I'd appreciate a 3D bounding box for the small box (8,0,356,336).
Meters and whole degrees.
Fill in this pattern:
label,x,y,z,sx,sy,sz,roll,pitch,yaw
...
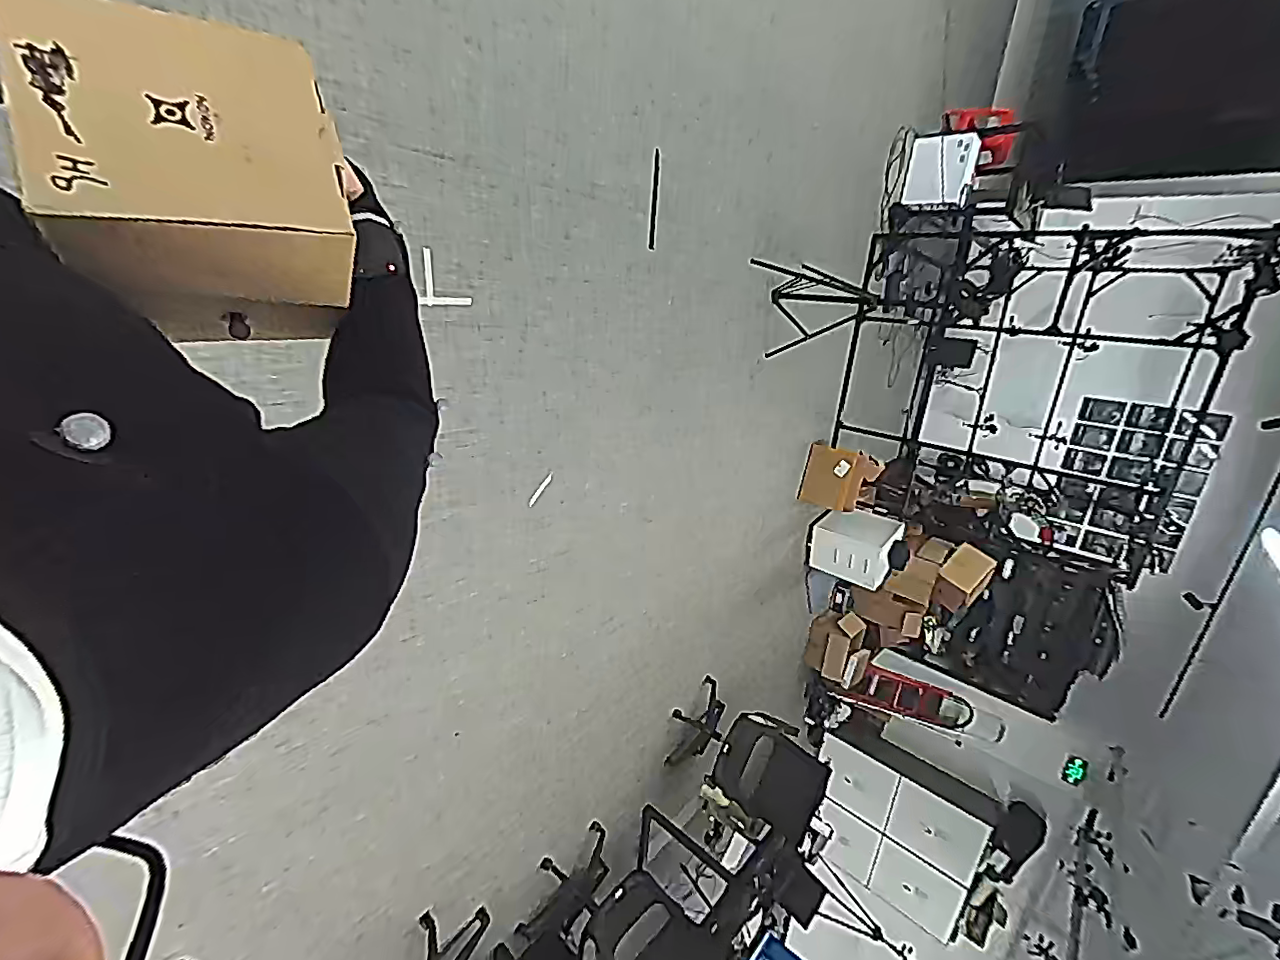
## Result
label,x,y,z,sx,sy,sz,roll,pitch,yaw
small box,-0.355,-0.232,0.450,0.179,0.176,0.168,-12,82,-34
